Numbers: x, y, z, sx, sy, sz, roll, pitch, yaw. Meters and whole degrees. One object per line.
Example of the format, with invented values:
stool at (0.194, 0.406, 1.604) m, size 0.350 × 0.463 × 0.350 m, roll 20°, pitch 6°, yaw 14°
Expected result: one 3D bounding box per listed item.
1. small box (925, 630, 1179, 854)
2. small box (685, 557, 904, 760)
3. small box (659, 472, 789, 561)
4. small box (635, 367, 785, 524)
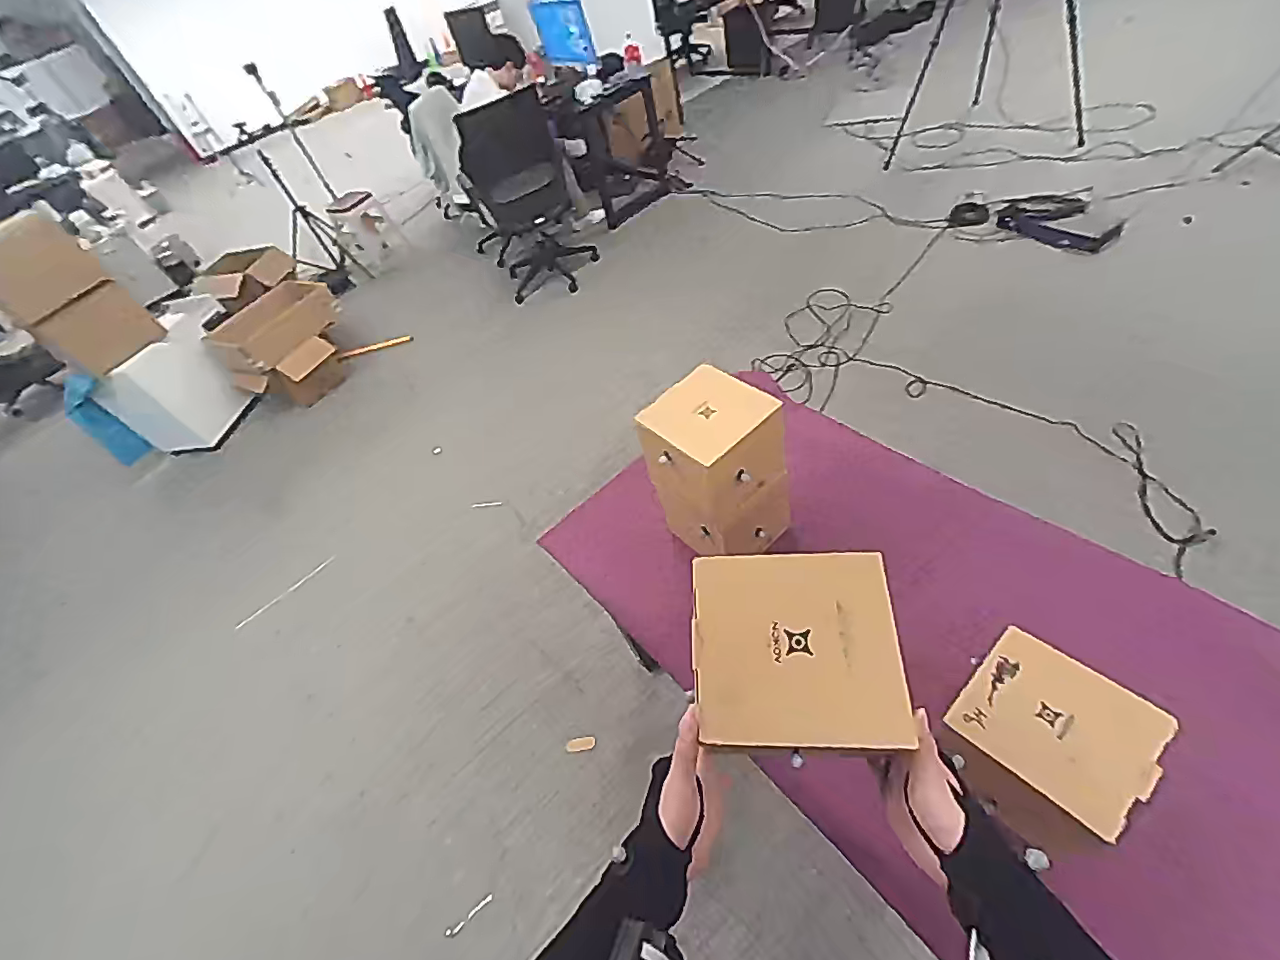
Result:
small box at (0.491, 0.329, 0.674) m, size 0.168 × 0.176 × 0.179 m, roll -40°, pitch 50°, yaw -17°
small box at (0.141, 0.186, 0.546) m, size 0.179 × 0.176 × 0.168 m, roll -3°, pitch 61°, yaw 9°
small box at (0.166, 0.049, 1.024) m, size 0.168 × 0.176 × 0.179 m, roll -39°, pitch 50°, yaw -16°
small box at (0.124, -0.052, 0.904) m, size 0.168 × 0.176 × 0.179 m, roll -40°, pitch 50°, yaw -16°
